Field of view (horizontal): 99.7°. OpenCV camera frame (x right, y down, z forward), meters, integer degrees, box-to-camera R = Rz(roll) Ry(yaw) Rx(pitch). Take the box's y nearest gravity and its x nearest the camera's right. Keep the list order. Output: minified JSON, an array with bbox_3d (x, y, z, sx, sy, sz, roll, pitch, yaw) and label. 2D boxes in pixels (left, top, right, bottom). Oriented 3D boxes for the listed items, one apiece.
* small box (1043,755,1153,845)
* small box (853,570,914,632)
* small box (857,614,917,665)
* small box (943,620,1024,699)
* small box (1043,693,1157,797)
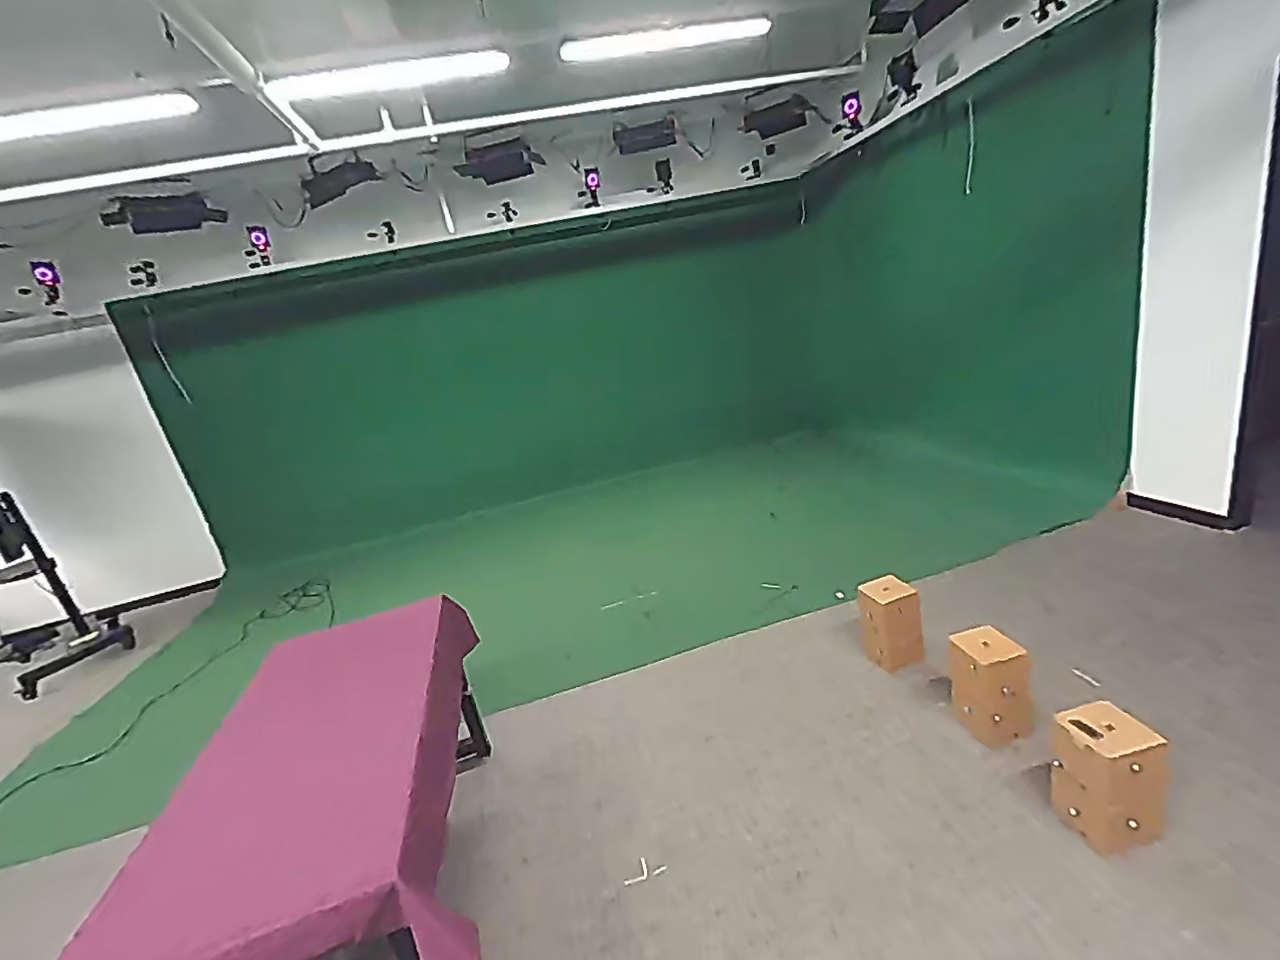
[{"bbox_3d":[1.275,0.871,1.510,0.179,0.176,0.168,-15,18,-6],"label":"small box"},{"bbox_3d":[1.025,0.508,2.265,0.179,0.176,0.168,-16,19,-11],"label":"small box"},{"bbox_3d":[1.062,0.662,2.313,0.179,0.176,0.168,-15,18,-10],"label":"small box"},{"bbox_3d":[1.167,0.612,1.847,0.168,0.176,0.179,-13,17,-5],"label":"small box"},{"bbox_3d":[1.237,0.718,1.462,0.179,0.176,0.168,-13,17,-5],"label":"small box"}]
